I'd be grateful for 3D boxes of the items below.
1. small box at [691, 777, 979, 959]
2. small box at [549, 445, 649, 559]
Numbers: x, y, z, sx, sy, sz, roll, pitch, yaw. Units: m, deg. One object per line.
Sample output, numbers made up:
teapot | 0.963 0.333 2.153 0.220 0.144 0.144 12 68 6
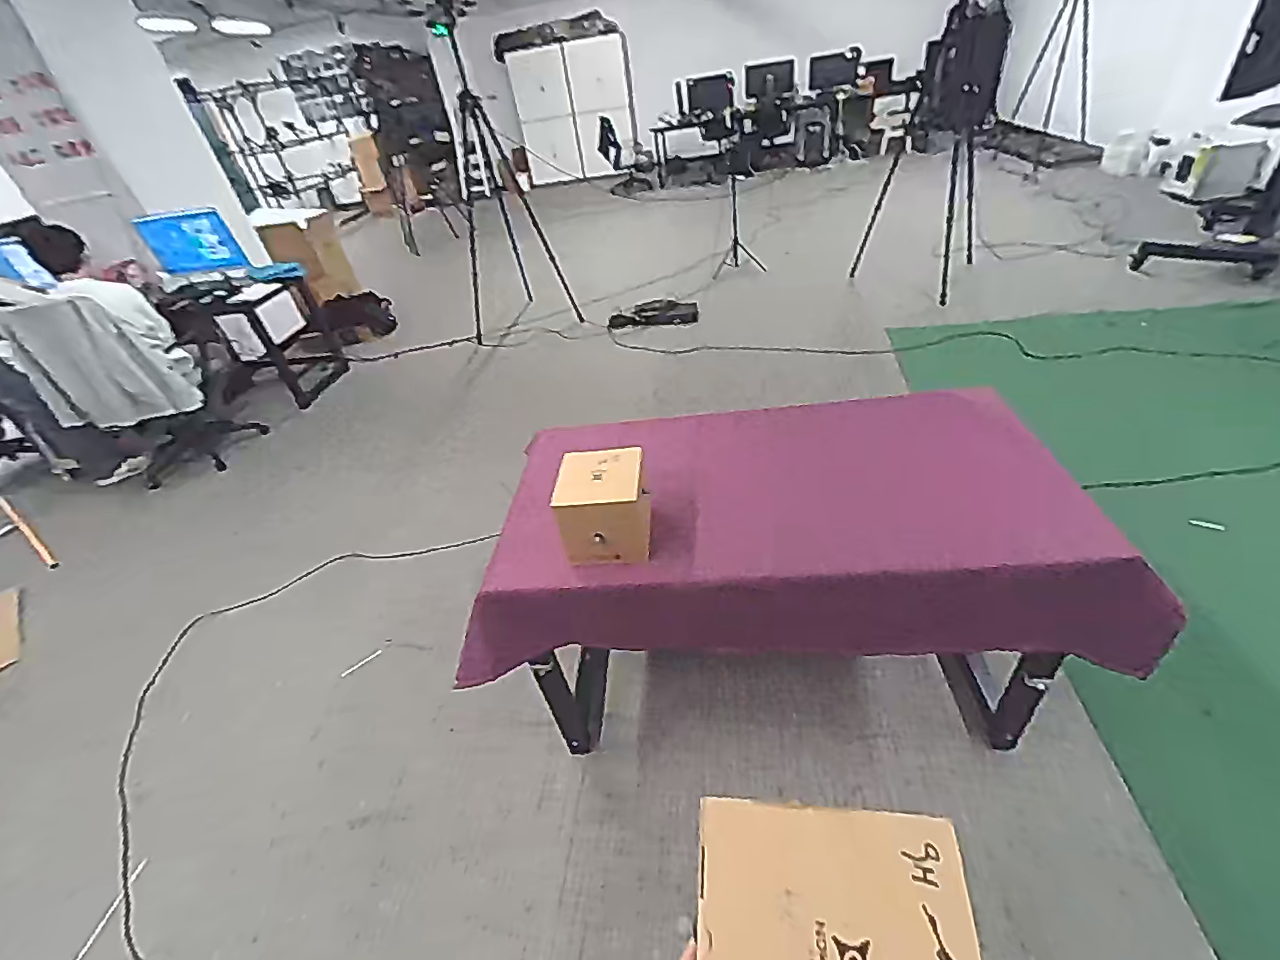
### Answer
small box | 0.130 0.336 0.407 0.179 0.176 0.168 1 55 8
small box | -0.074 0.051 1.120 0.168 0.176 0.179 -4 38 8
